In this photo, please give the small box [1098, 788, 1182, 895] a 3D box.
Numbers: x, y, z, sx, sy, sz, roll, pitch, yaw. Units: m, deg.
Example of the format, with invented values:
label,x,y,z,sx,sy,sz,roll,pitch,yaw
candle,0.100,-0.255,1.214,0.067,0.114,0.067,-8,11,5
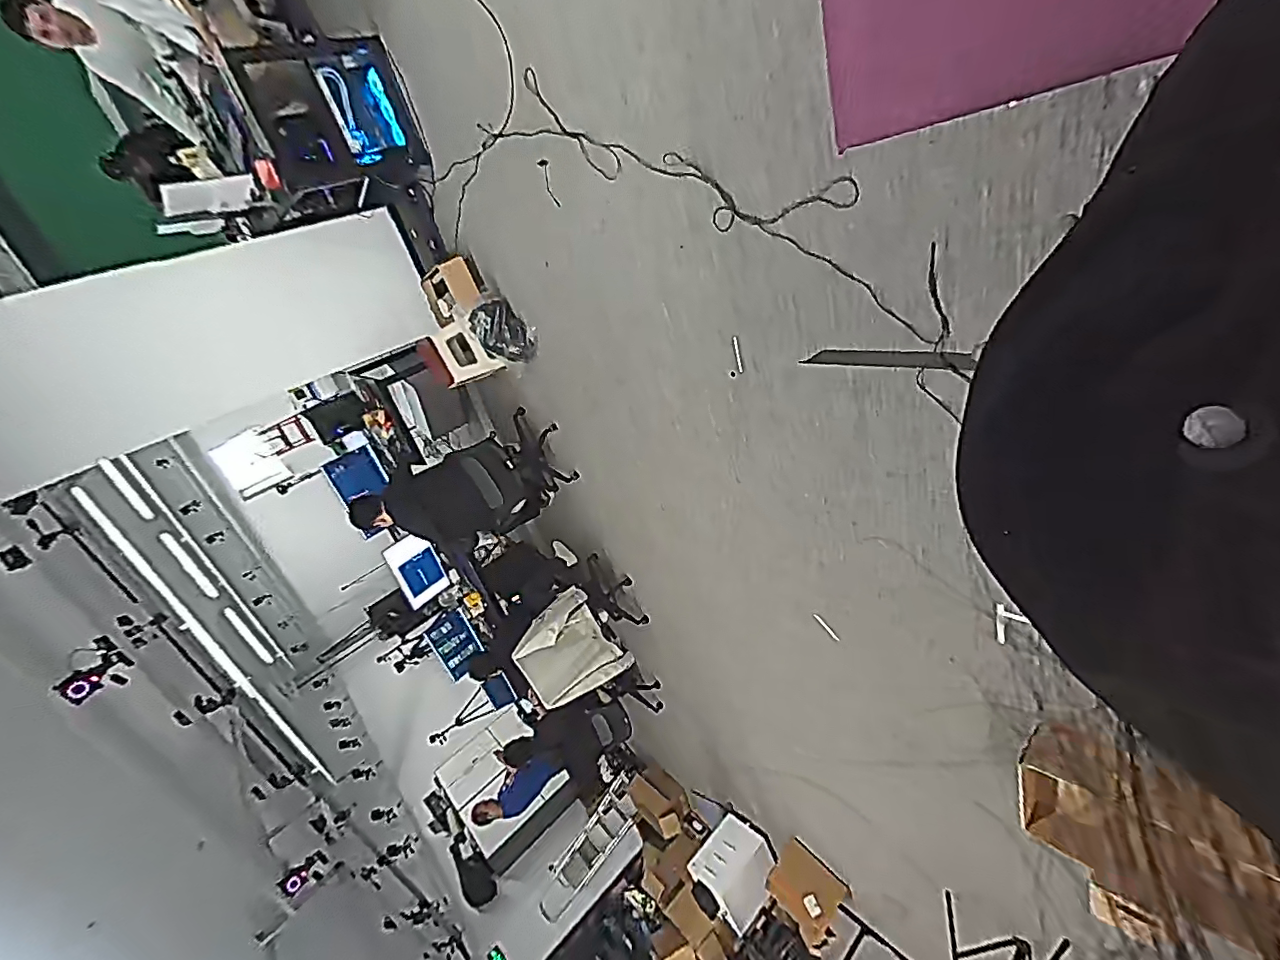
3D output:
label,x,y,z,sx,sy,sz,roll,pitch,yaw
small box,1.533,1.101,1.658,0.168,0.176,0.179,9,127,51
